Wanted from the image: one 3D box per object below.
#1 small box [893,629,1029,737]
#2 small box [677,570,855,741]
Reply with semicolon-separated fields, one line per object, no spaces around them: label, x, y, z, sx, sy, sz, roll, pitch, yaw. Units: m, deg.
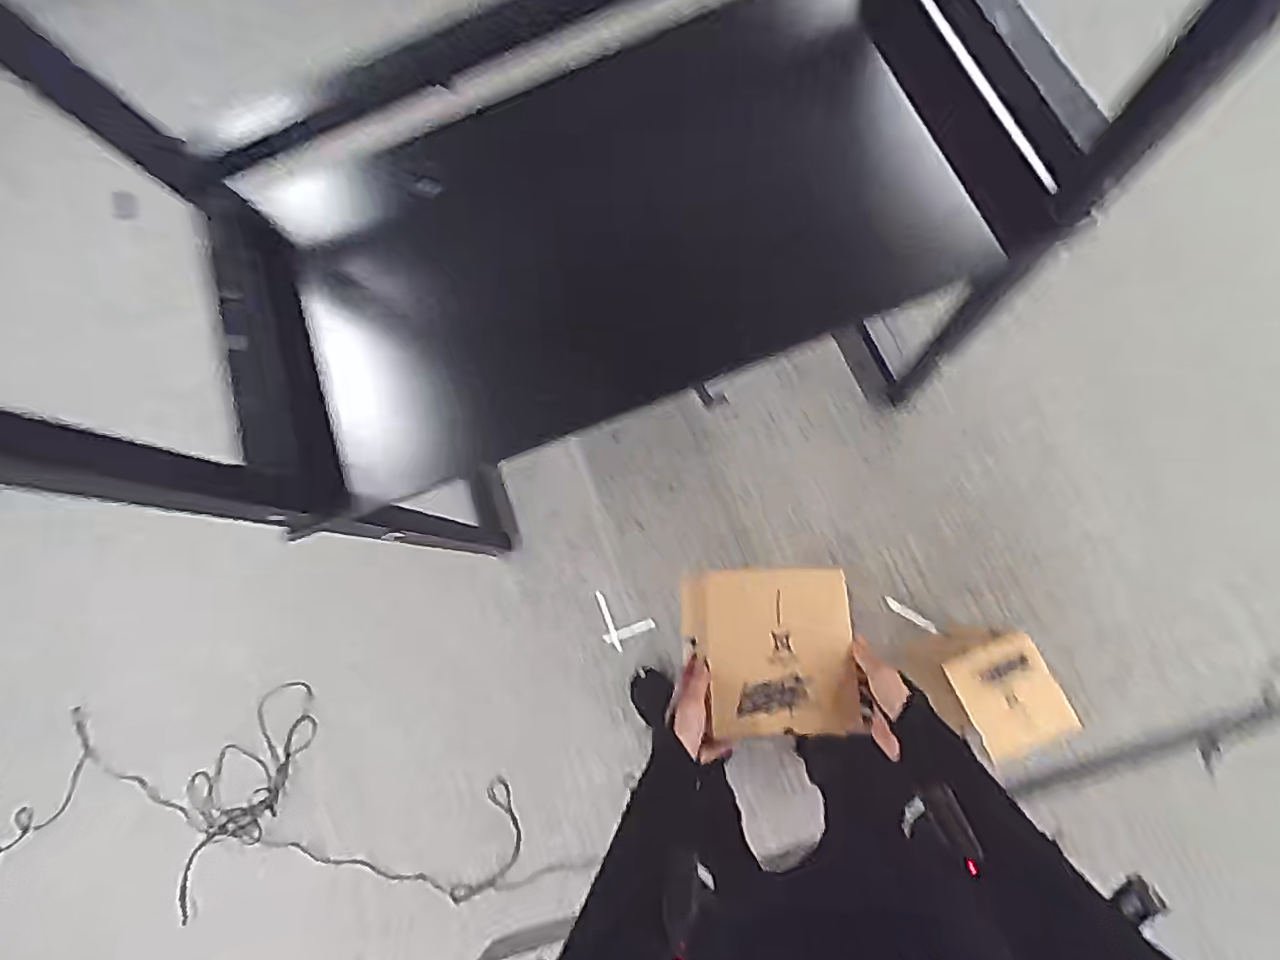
small box;0.697;0.439;1.197;0.179;0.176;0.168;-21;76;4
small box;0.139;0.204;0.662;0.168;0.176;0.179;0;76;-5
